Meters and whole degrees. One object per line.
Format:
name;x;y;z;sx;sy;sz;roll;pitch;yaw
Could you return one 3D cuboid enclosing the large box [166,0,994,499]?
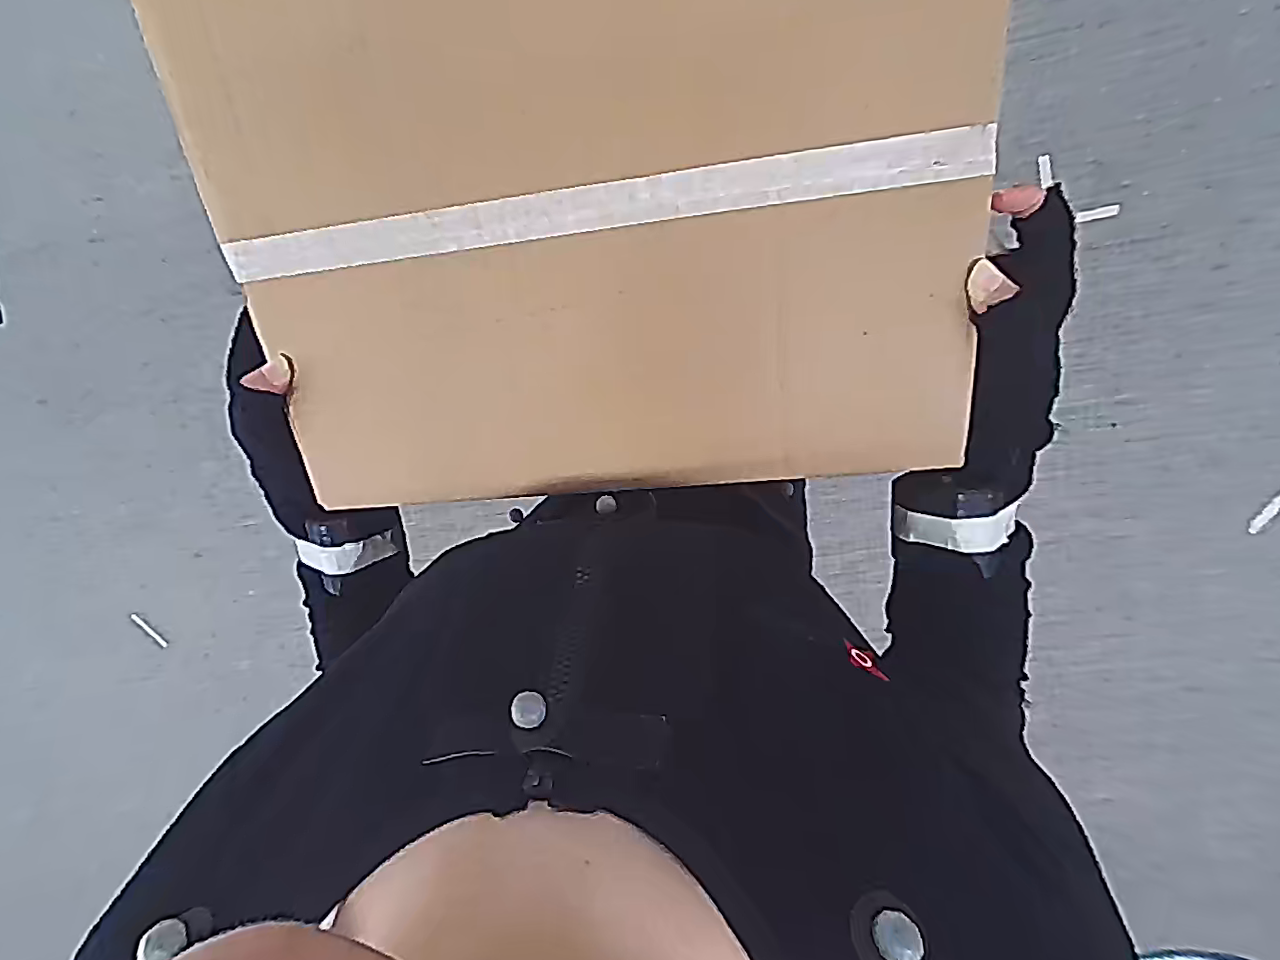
large box;-0.017;-0.198;0.428;0.408;0.320;0.320;-4;112;8
